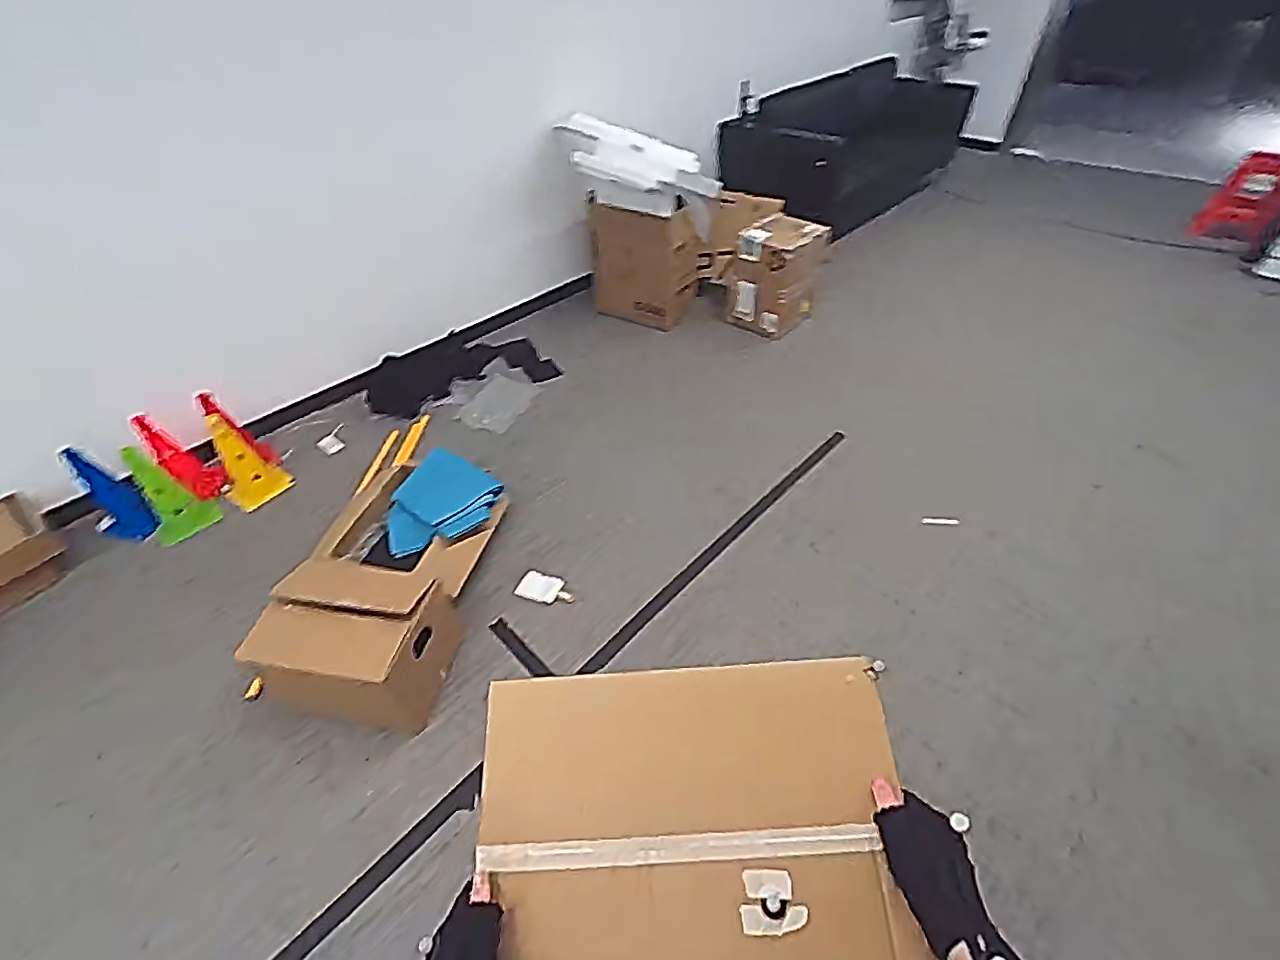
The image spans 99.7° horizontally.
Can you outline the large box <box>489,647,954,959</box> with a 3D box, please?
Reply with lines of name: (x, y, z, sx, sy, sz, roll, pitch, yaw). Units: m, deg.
large box: (0.069, 0.392, 0.635, 0.408, 0.320, 0.320, -4, 65, 3)
